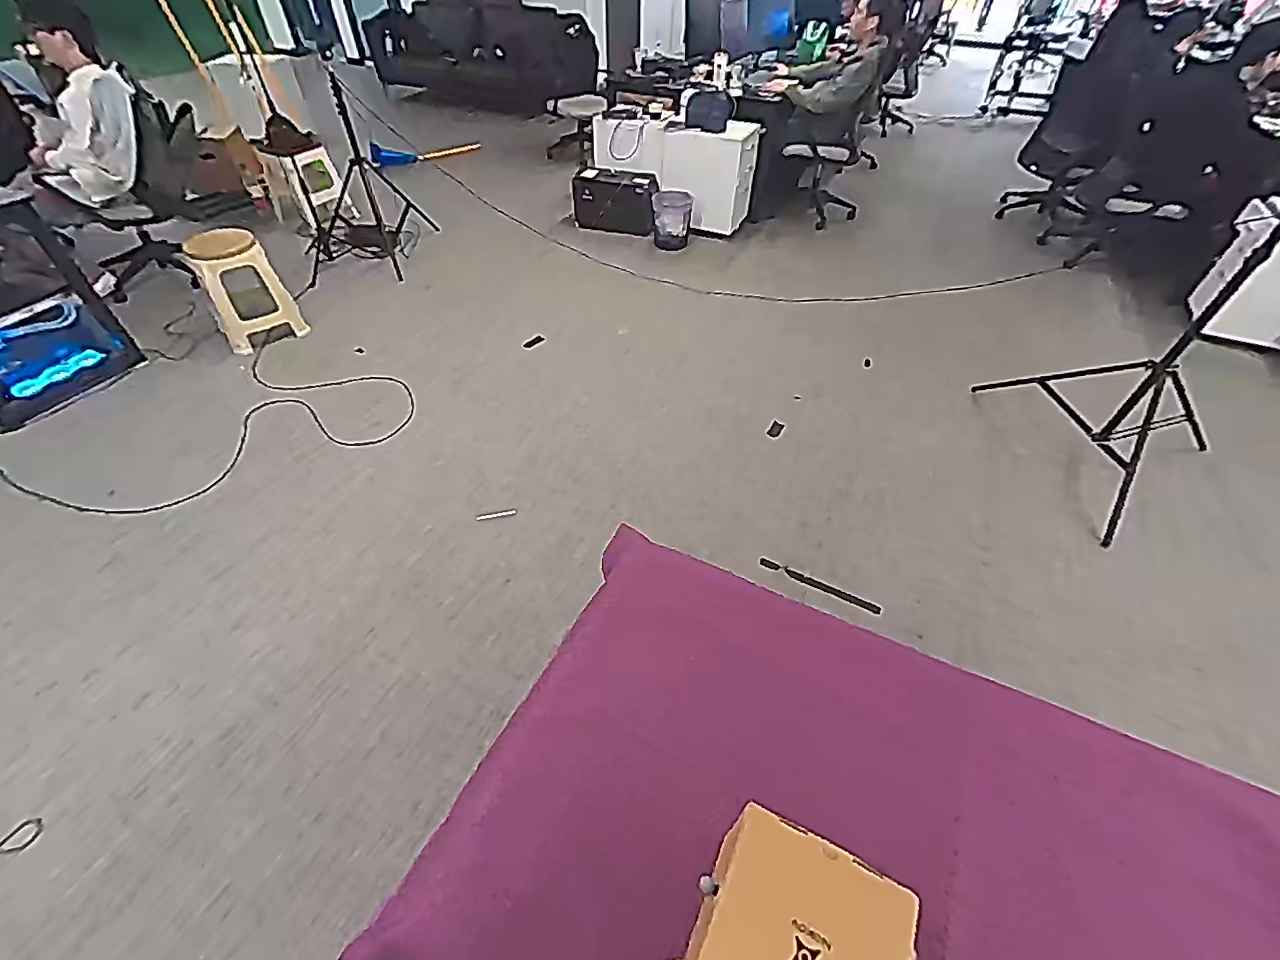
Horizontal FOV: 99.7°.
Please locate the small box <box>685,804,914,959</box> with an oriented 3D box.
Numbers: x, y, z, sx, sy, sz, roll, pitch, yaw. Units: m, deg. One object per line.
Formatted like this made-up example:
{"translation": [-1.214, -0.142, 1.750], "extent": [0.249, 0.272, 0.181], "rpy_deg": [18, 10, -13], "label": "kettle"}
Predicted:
{"translation": [0.143, 0.469, 0.532], "extent": [0.168, 0.176, 0.179], "rpy_deg": [21, 48, 18], "label": "small box"}
